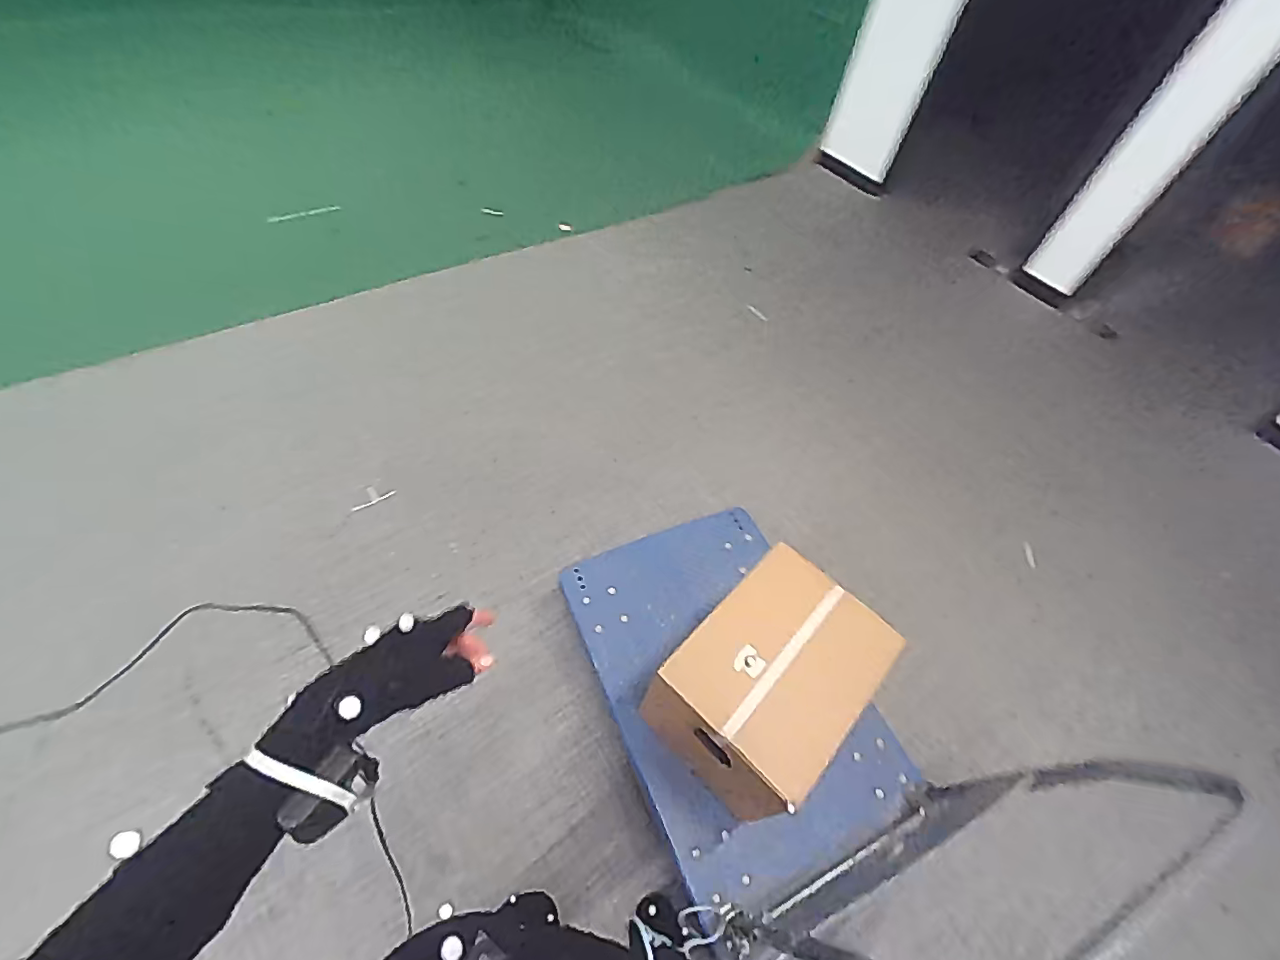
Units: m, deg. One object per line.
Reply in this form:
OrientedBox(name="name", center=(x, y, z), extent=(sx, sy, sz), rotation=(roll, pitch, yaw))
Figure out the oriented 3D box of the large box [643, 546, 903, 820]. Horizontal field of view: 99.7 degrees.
OrientedBox(name="large box", center=(0.262, 0.423, 1.140), extent=(0.320, 0.320, 0.408), rotation=(41, 59, 20))
